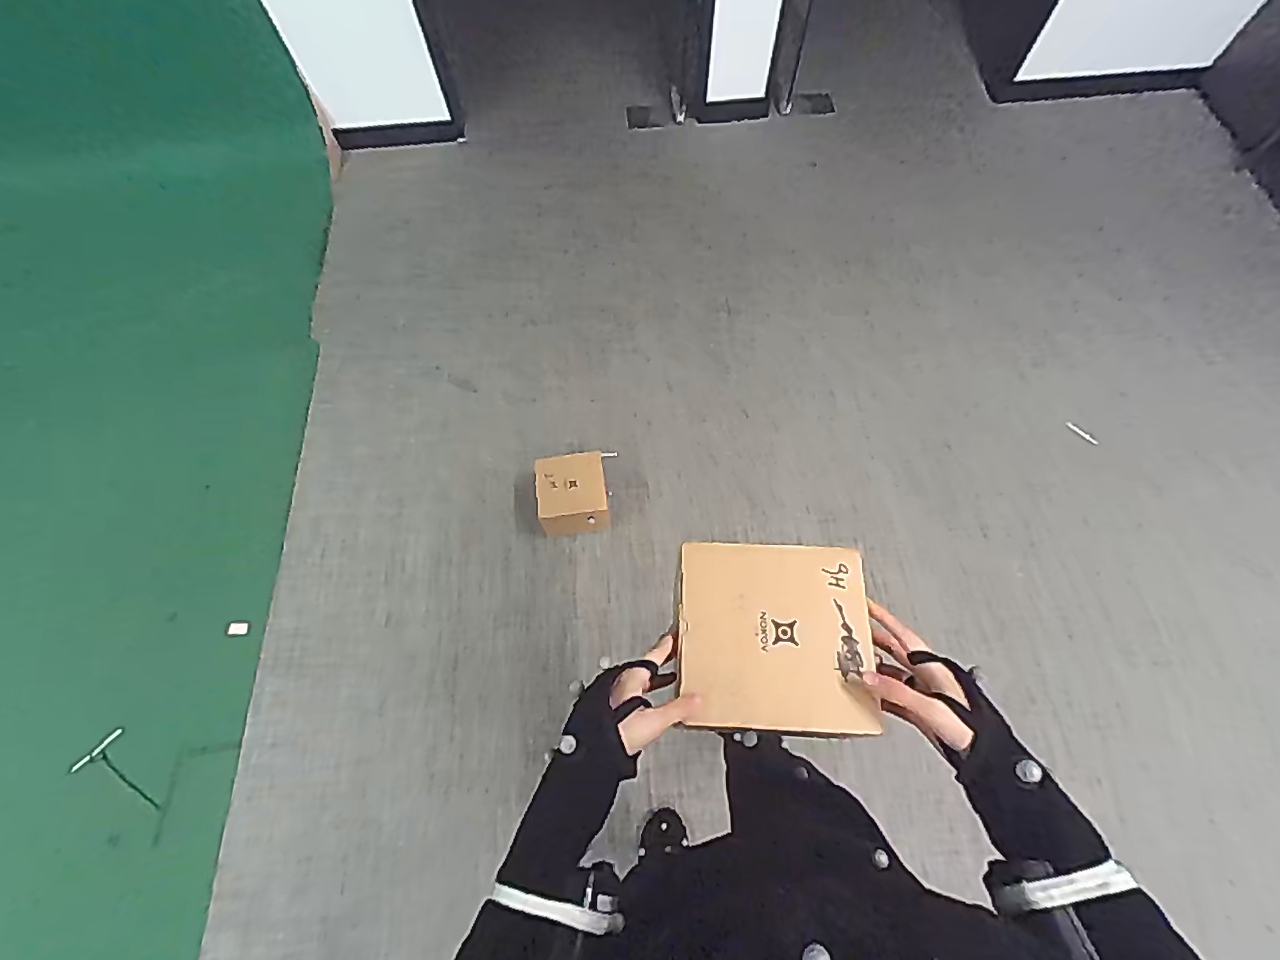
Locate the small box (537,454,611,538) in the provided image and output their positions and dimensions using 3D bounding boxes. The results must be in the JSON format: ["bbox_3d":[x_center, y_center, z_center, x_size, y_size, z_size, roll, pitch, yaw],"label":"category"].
[{"bbox_3d":[-0.173,0.048,1.453,0.179,0.176,0.168,-8,66,-1],"label":"small box"}]
